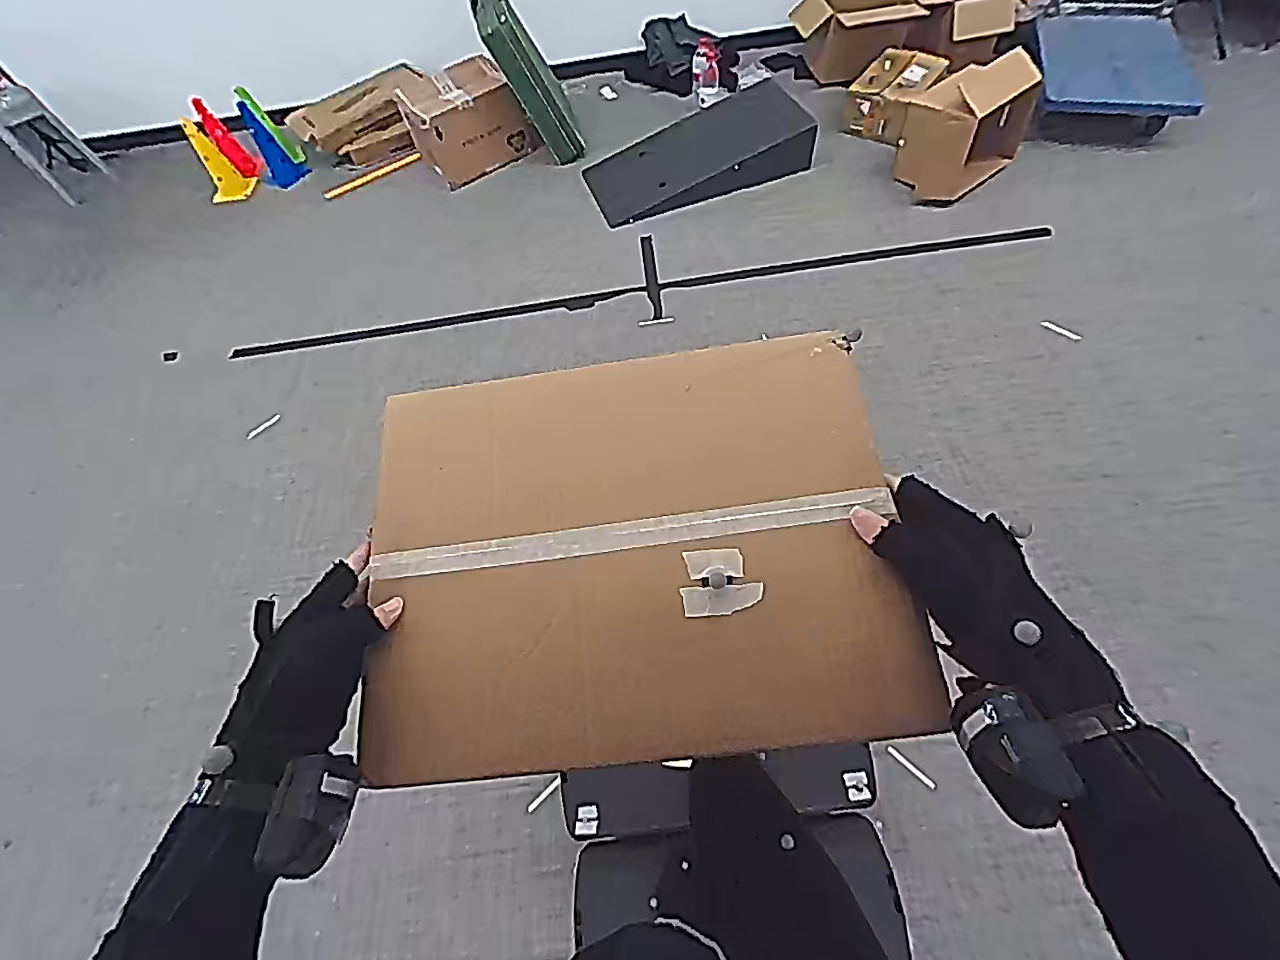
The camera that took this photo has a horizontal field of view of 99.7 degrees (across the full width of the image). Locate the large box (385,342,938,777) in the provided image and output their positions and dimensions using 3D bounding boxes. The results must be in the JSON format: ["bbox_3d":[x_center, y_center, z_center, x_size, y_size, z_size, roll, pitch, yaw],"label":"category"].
[{"bbox_3d":[0.008,0.100,0.572,0.408,0.320,0.320,-8,69,4],"label":"large box"}]

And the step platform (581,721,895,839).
[{"bbox_3d":[0.206,0.623,1.247,0.684,0.204,0.286,-8,59,1],"label":"step platform"}]
